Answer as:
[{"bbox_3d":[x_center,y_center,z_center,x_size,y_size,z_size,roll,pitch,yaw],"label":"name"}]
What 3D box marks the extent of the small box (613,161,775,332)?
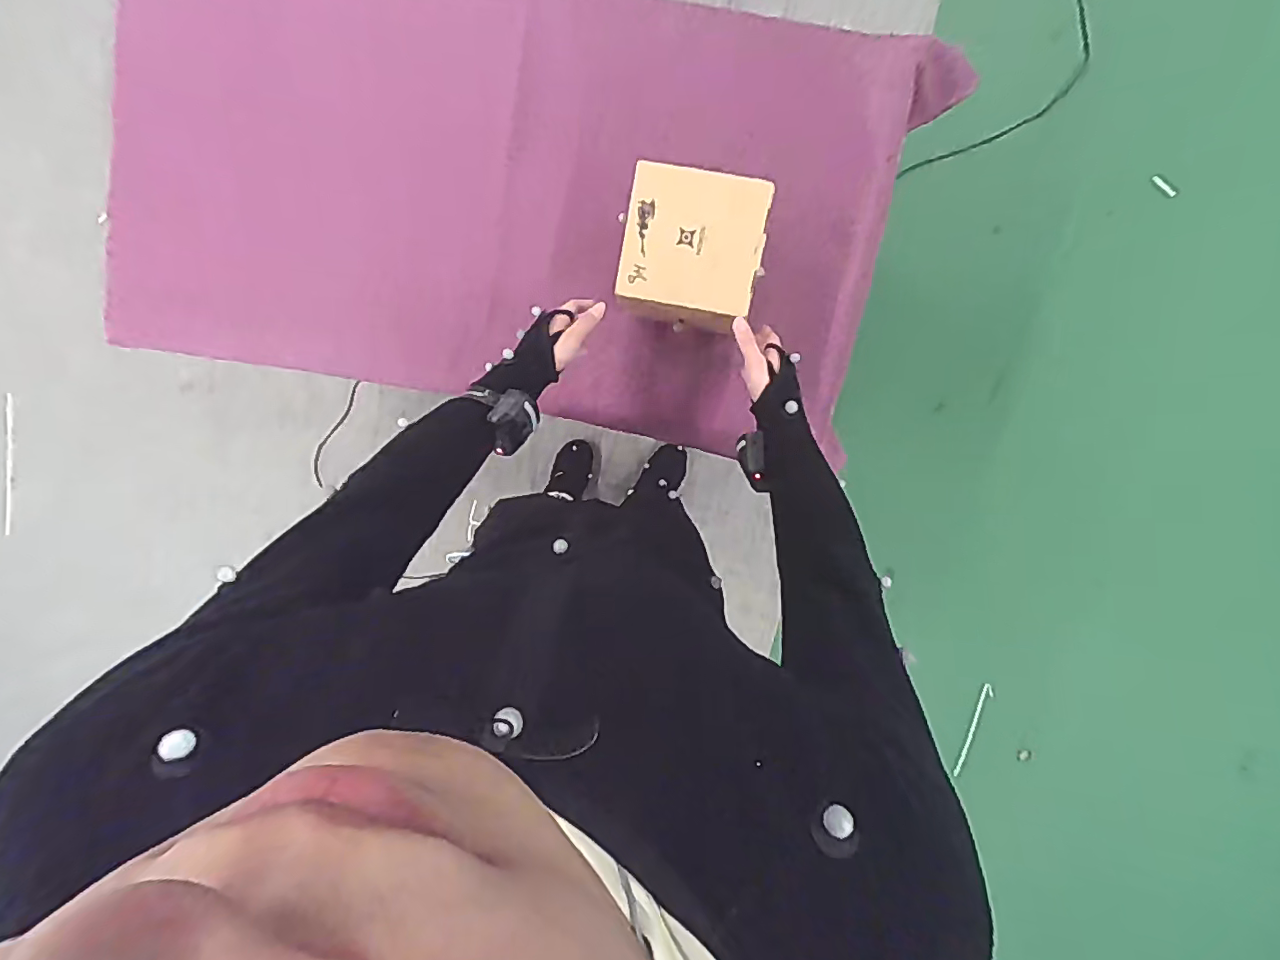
[{"bbox_3d":[0.069,-0.310,0.754,0.179,0.176,0.168,11,98,1],"label":"small box"}]
